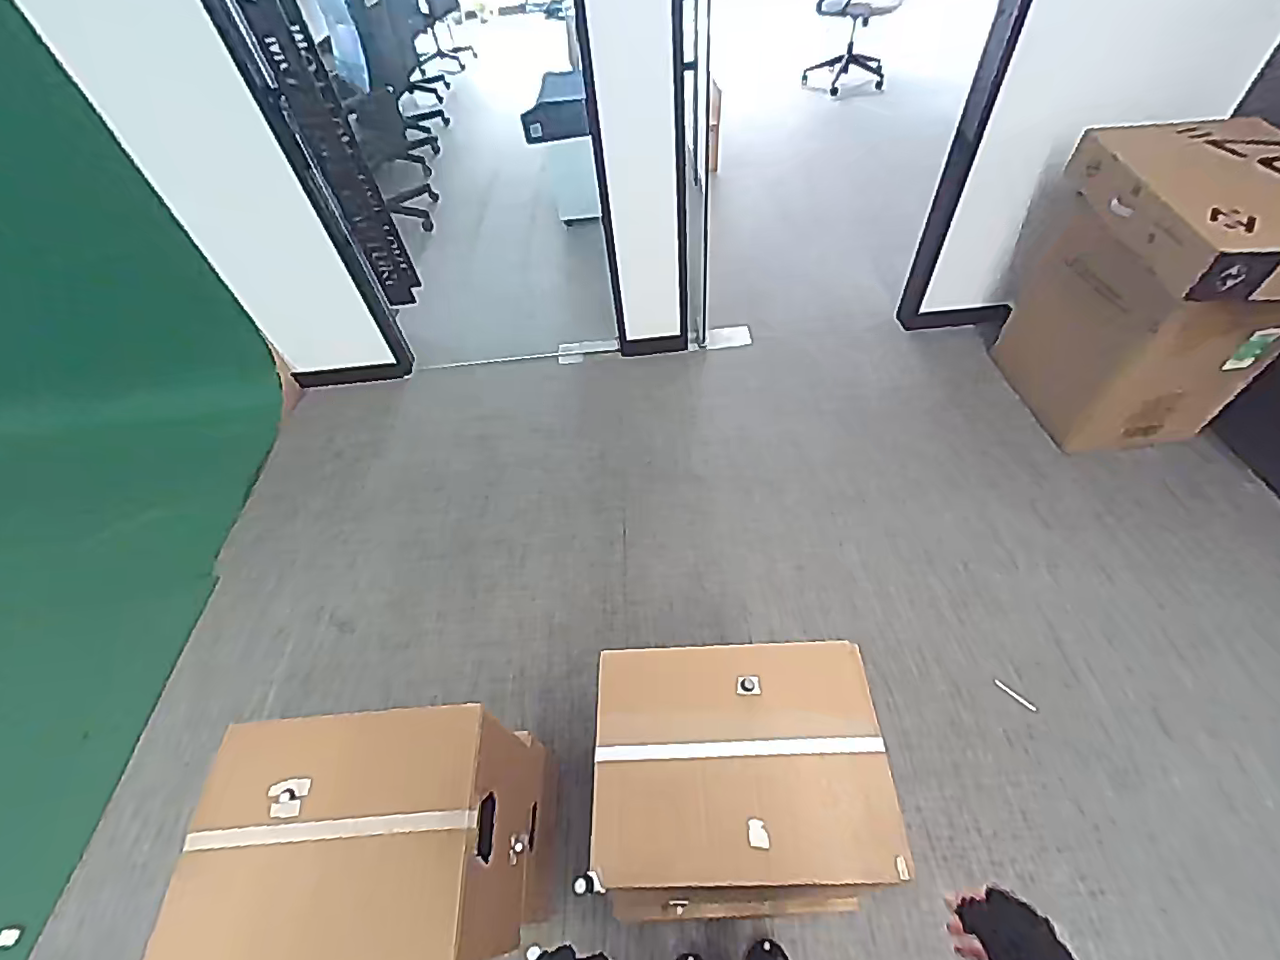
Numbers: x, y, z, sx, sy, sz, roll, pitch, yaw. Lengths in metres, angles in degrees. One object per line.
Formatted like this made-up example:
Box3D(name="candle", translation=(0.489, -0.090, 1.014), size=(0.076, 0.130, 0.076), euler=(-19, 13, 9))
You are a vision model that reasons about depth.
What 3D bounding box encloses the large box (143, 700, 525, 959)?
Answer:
Box3D(name="large box", translation=(-0.422, 0.567, 0.867), size=(0.408, 0.320, 0.320), euler=(-6, 53, 2))
